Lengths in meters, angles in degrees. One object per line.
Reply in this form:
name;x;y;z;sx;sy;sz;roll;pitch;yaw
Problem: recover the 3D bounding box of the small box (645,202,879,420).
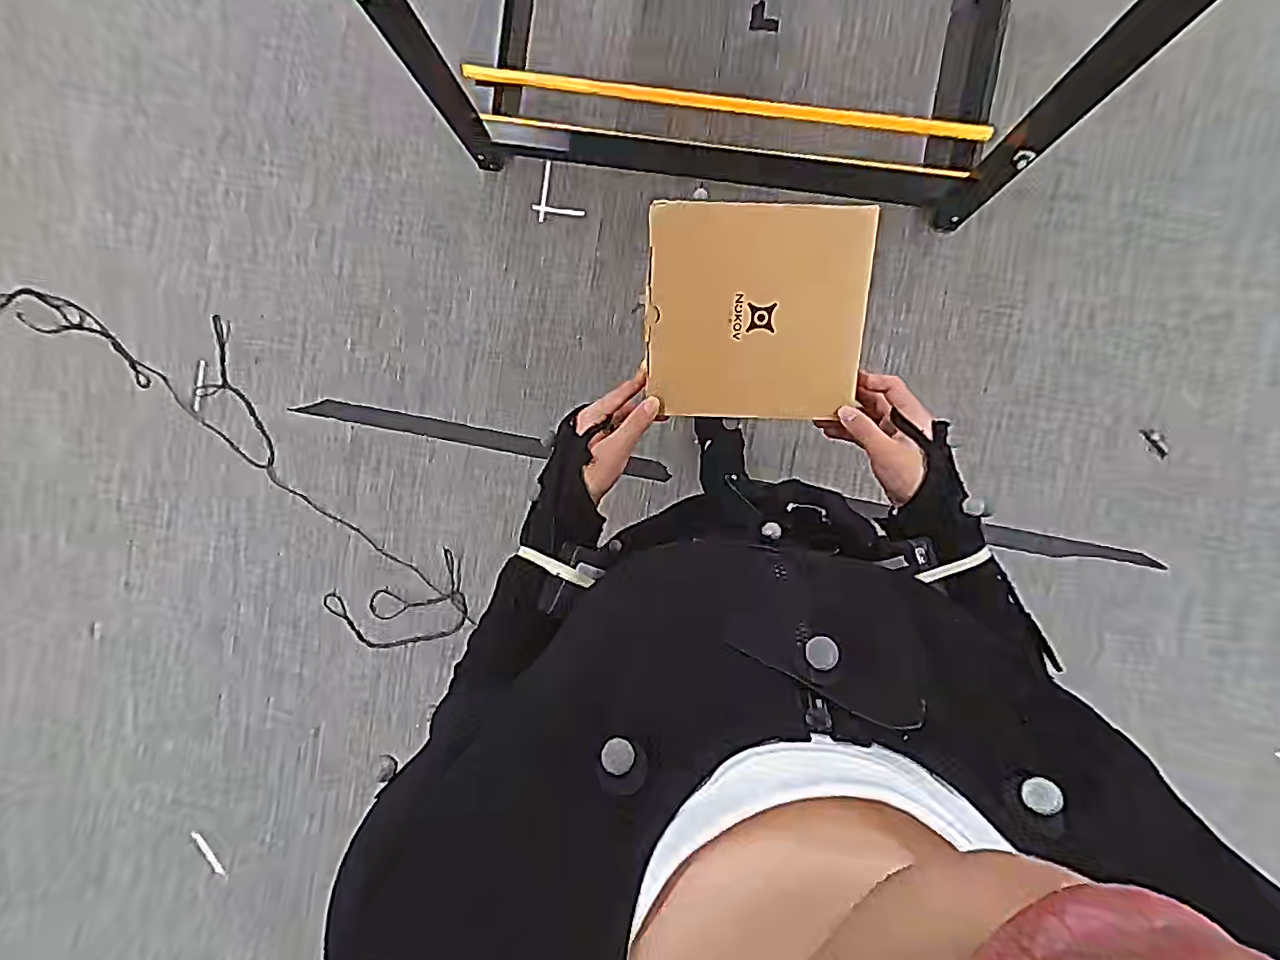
small box;0.096;-0.154;0.508;0.179;0.176;0.168;2;106;3
